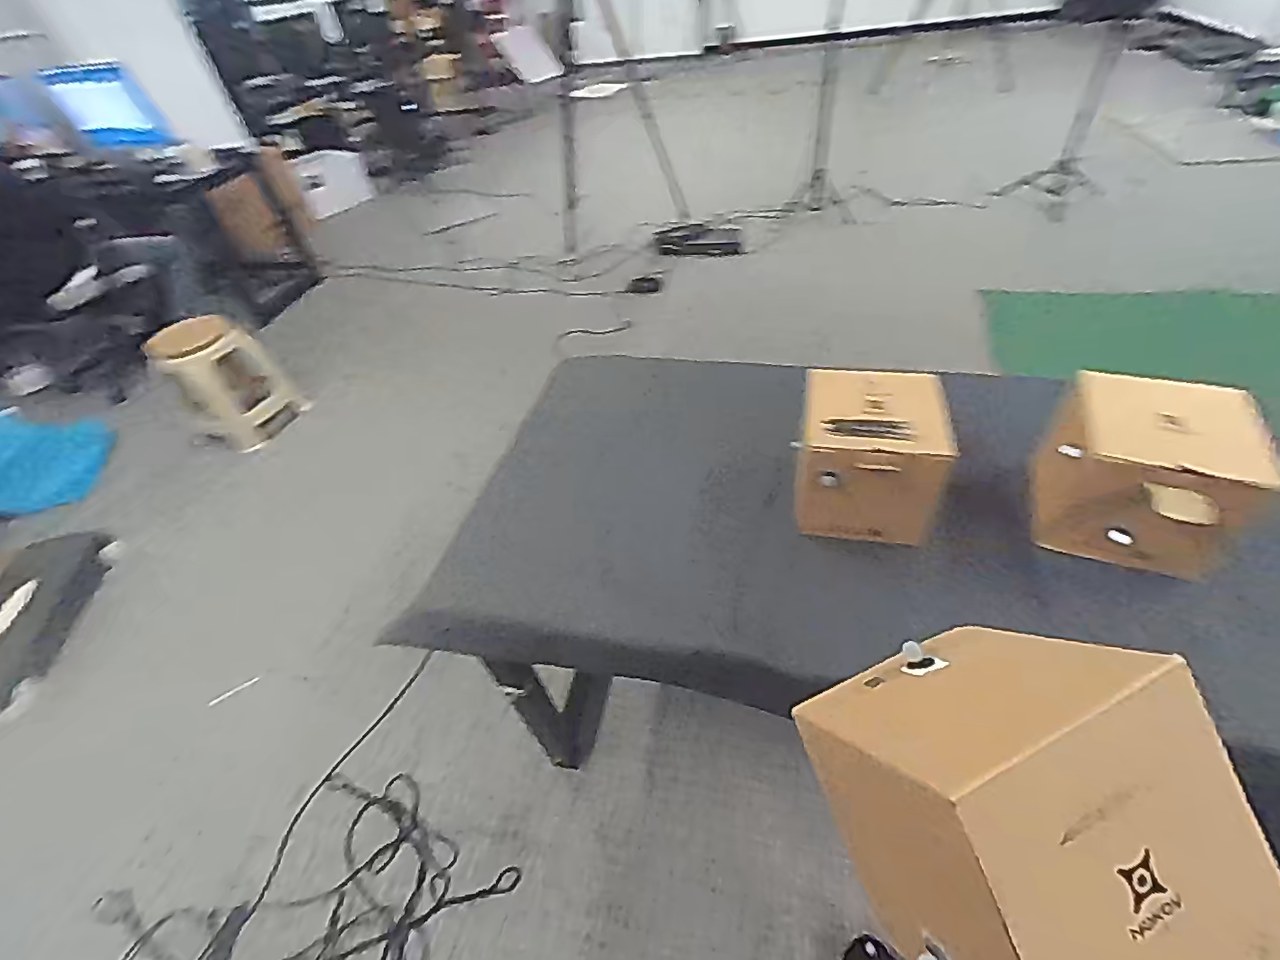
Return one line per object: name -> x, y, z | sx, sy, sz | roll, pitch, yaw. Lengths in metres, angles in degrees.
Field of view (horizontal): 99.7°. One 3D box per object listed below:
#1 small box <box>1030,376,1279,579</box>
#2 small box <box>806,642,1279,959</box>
small box -> 0.627, -0.006, 0.692 | 0.168, 0.176, 0.179 | 13, 49, 21
small box -> 0.239, 0.223, 0.343 | 0.168, 0.176, 0.179 | -20, 85, -14
